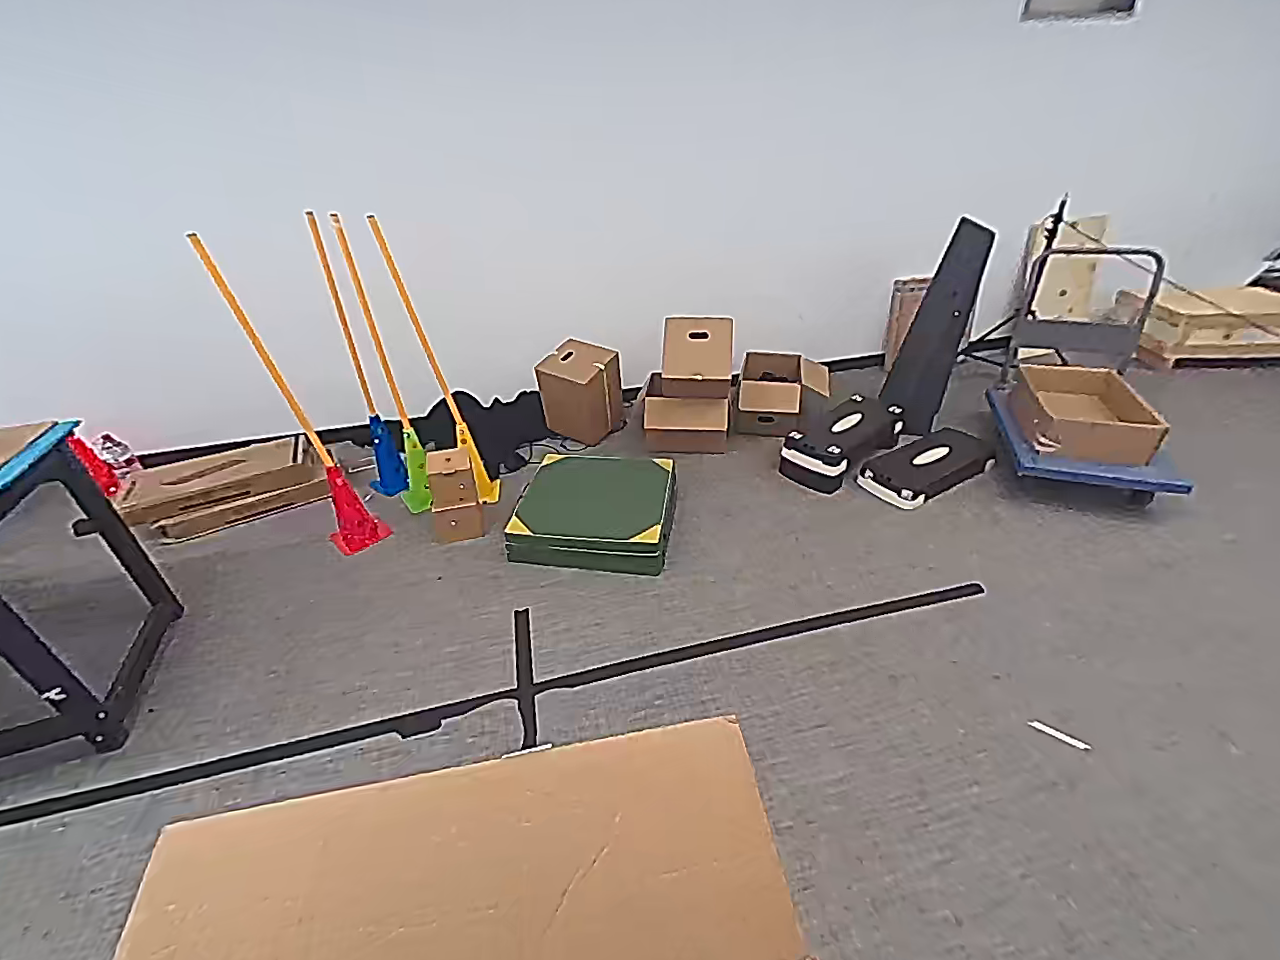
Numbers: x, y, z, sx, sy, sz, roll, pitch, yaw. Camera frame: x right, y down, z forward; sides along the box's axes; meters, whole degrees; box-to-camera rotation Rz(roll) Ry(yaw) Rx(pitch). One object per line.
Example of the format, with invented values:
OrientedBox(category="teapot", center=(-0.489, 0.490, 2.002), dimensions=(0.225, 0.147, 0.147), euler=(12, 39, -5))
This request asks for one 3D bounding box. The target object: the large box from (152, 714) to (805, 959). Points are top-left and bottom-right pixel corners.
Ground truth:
OrientedBox(category="large box", center=(-0.091, 0.426, 0.408), dimensions=(0.408, 0.320, 0.320), euler=(-8, 47, -6))
